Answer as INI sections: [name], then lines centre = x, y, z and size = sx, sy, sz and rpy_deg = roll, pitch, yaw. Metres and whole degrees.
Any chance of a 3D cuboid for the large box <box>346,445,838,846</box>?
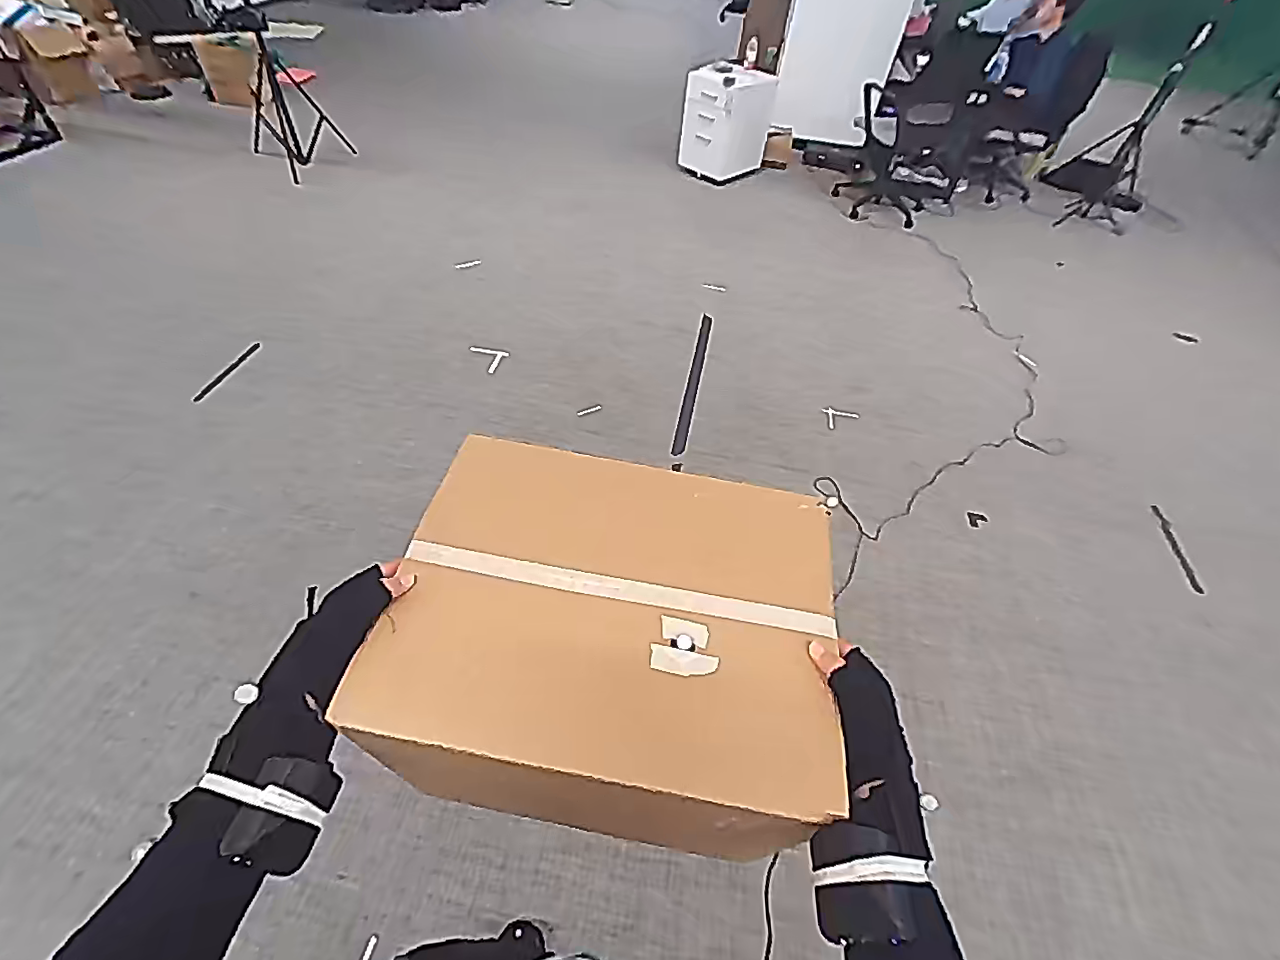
[large box]
centre = -0.034, 0.199, 0.632
size = 0.408, 0.320, 0.320
rpy_deg = 10, 52, 2
